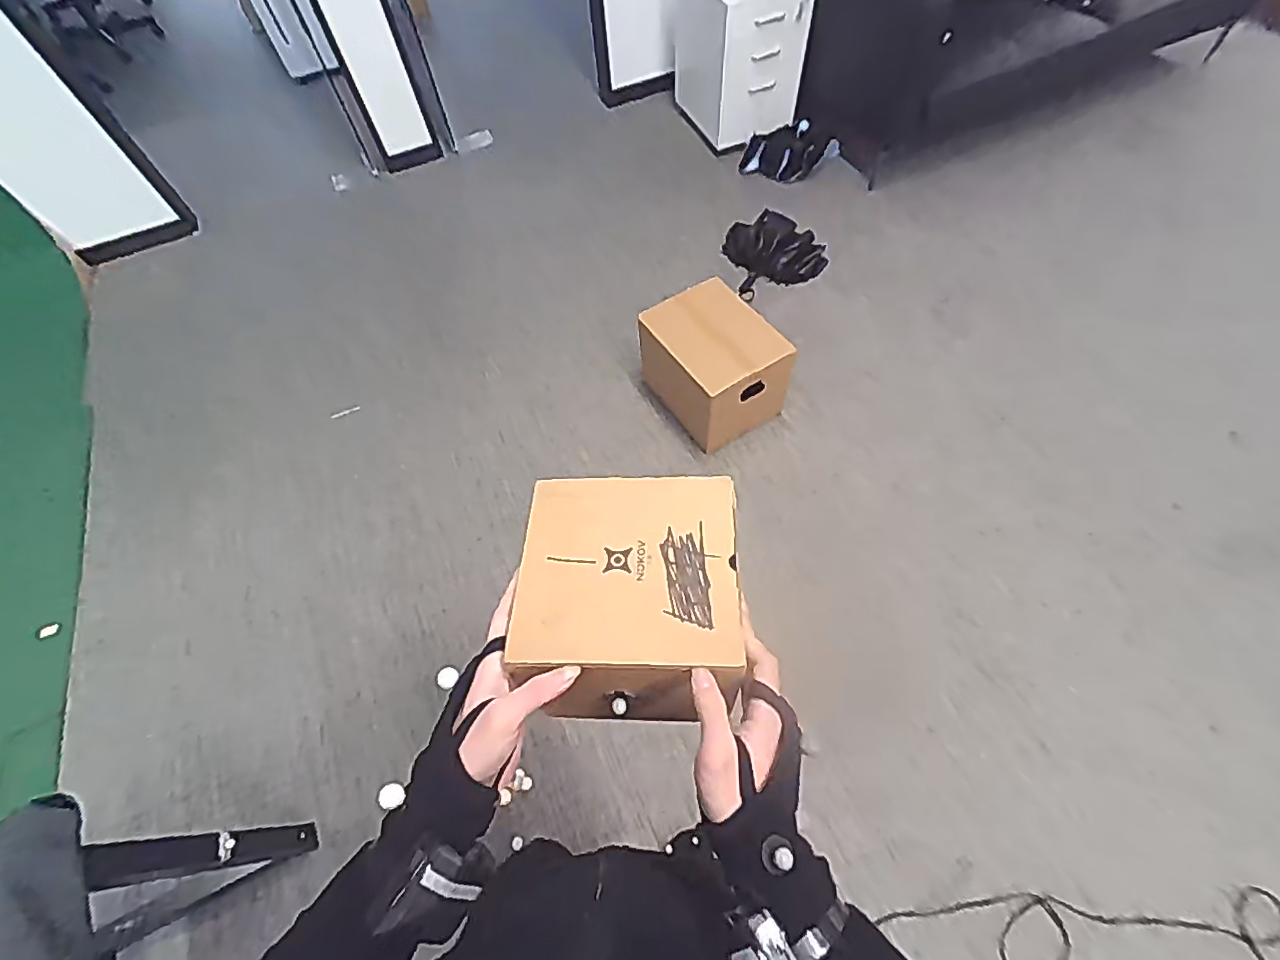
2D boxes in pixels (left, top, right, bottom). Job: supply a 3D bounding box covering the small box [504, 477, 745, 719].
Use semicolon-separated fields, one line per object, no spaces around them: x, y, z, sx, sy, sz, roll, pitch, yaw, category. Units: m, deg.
-0.005;0.113;0.496;0.179;0.176;0.168;0;54;4;small box
